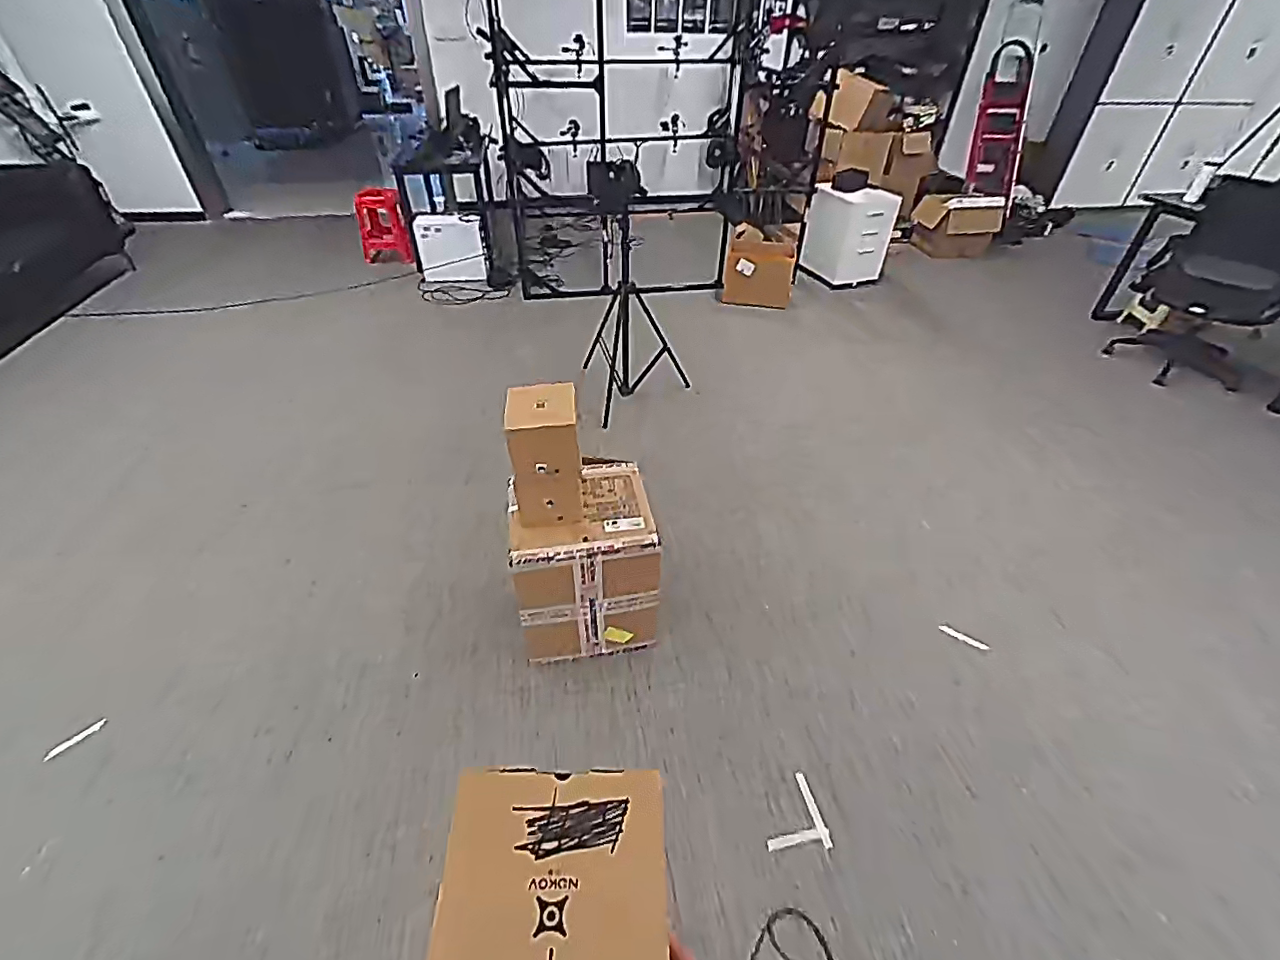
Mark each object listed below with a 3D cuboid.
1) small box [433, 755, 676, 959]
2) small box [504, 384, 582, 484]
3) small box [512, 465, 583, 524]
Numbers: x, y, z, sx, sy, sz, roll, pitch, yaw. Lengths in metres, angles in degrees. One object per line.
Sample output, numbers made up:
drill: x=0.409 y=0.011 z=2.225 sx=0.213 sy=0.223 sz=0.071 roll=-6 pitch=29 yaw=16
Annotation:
small box: x=-0.065 y=0.350 z=0.449 sx=0.168 sy=0.176 sz=0.179 roll=2 pitch=45 yaw=-4
small box: x=-0.234 y=-0.113 z=1.327 sx=0.168 sy=0.176 sz=0.179 roll=-7 pitch=44 yaw=-5
small box: x=-0.243 y=0.004 z=1.442 sx=0.168 sy=0.176 sz=0.179 roll=-6 pitch=43 yaw=-5
